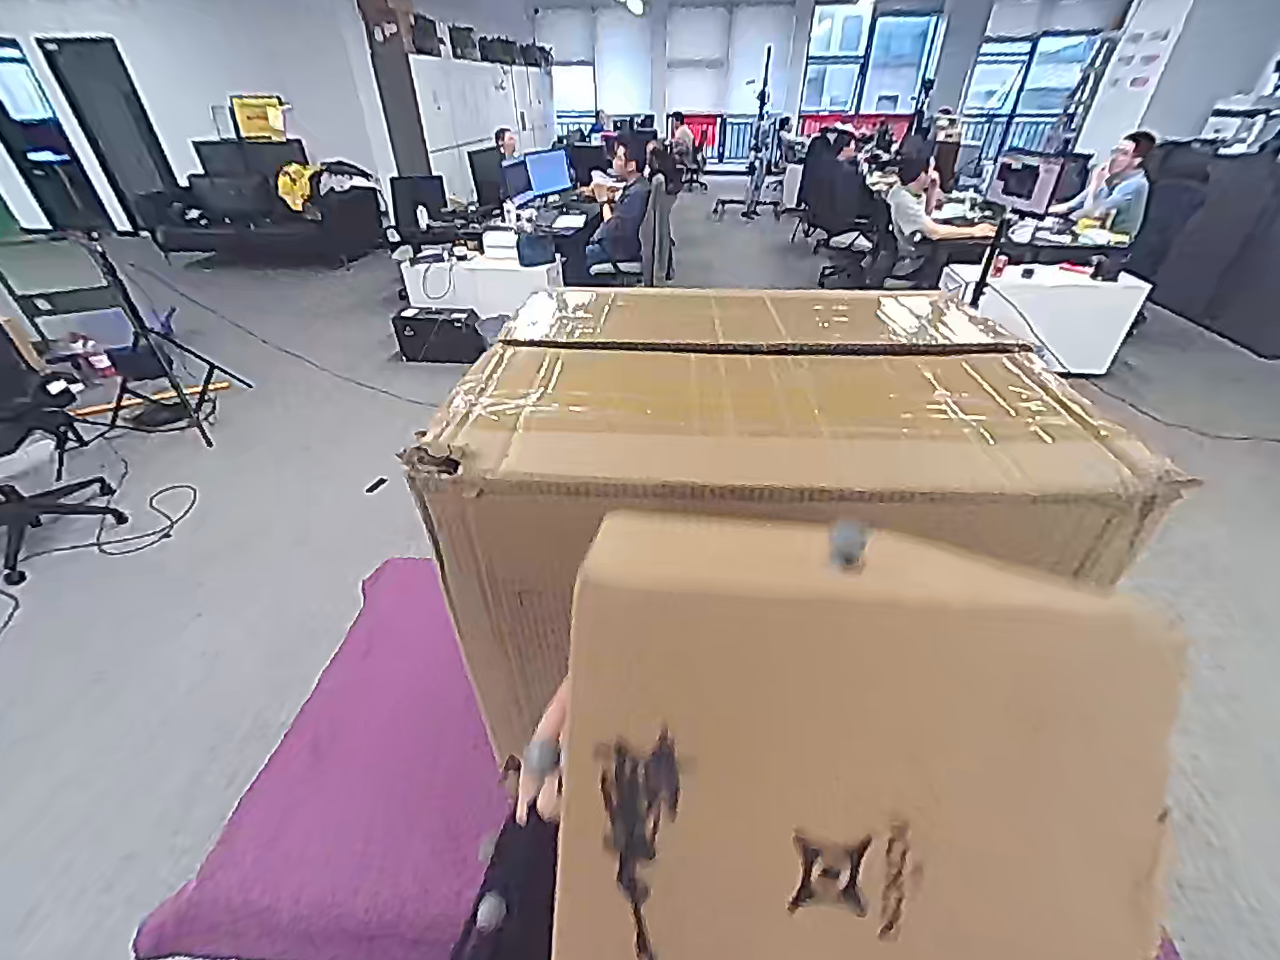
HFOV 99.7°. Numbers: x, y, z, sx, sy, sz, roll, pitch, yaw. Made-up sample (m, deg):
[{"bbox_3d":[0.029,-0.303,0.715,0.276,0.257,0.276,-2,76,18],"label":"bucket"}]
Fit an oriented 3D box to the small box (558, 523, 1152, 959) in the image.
[{"bbox_3d":[0.061,0.111,0.243,0.179,0.168,0.176,4,1,-2],"label":"small box"}]
